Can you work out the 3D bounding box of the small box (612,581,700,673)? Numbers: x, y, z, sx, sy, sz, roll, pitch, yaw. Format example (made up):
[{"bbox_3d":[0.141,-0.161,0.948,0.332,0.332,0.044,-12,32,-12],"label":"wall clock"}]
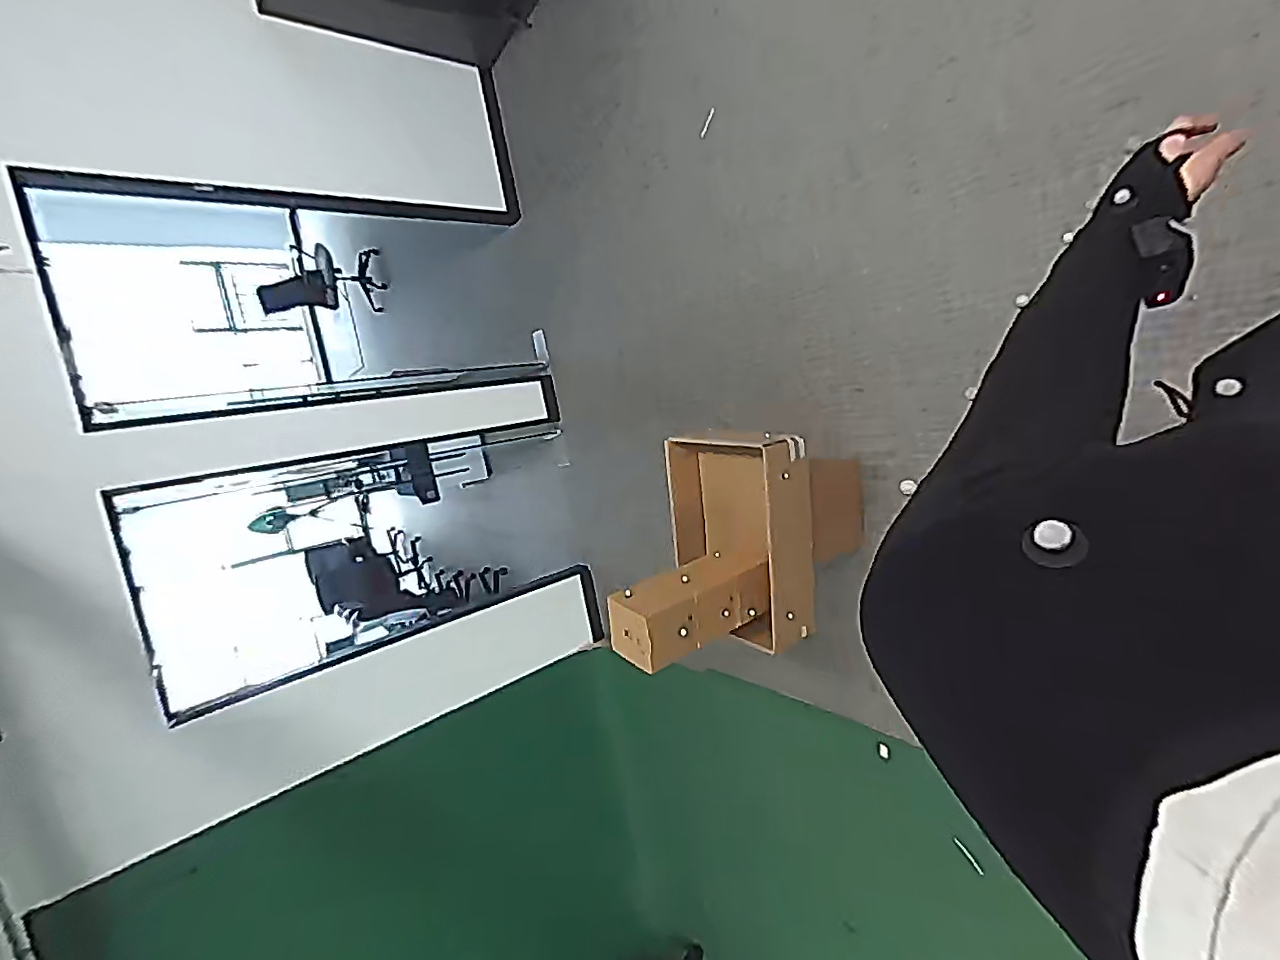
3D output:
[{"bbox_3d":[0.045,0.394,1.490,0.179,0.176,0.168,12,114,49],"label":"small box"}]

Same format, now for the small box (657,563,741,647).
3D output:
[{"bbox_3d":[0.174,0.356,1.586,0.179,0.176,0.168,11,112,49],"label":"small box"}]
